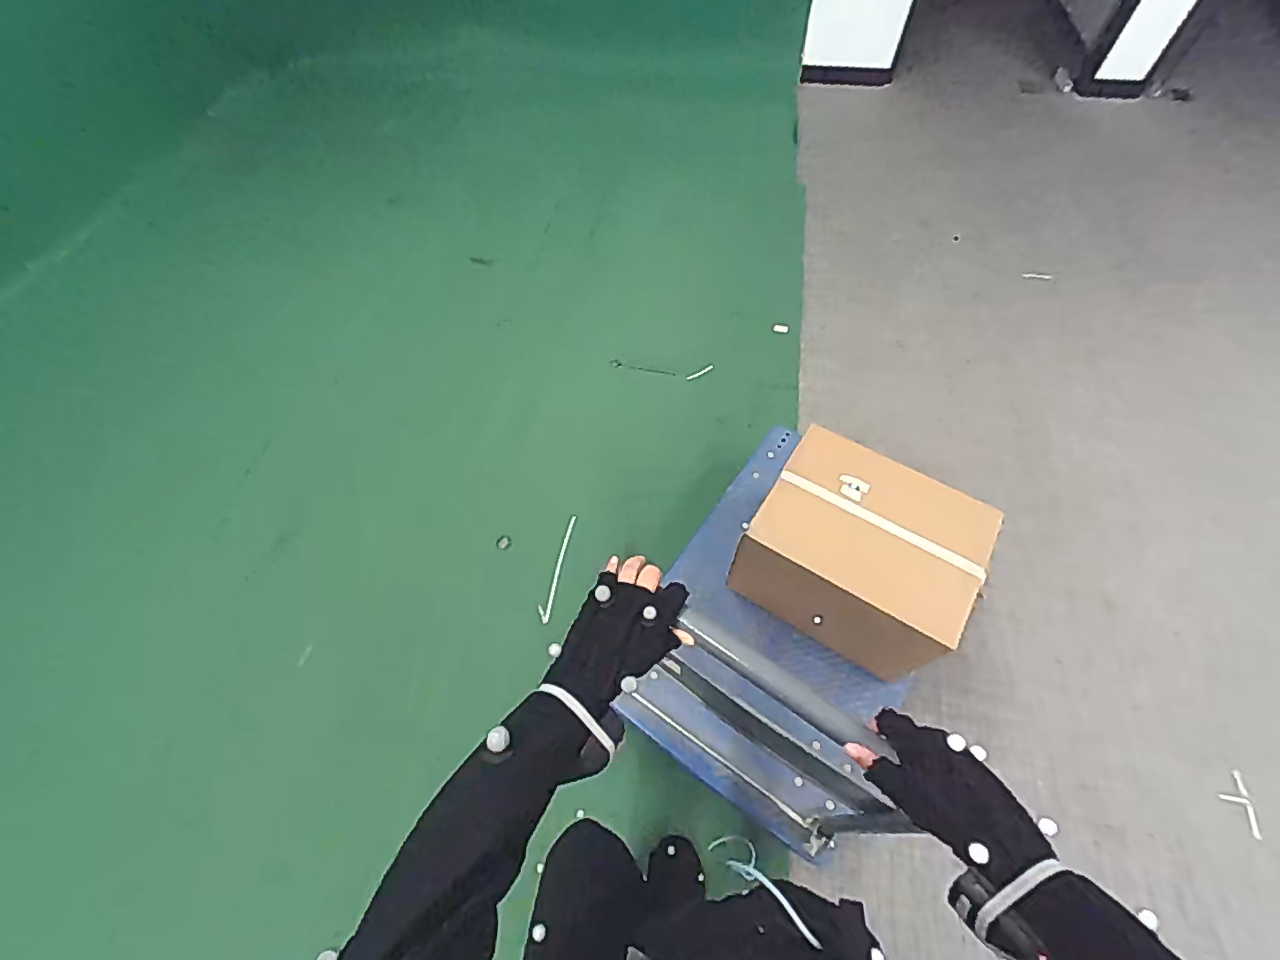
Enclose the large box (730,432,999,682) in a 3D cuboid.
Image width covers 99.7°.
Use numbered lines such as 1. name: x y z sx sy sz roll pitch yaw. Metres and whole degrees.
1. large box: 0.452 0.170 1.162 0.408 0.320 0.320 29 64 19
